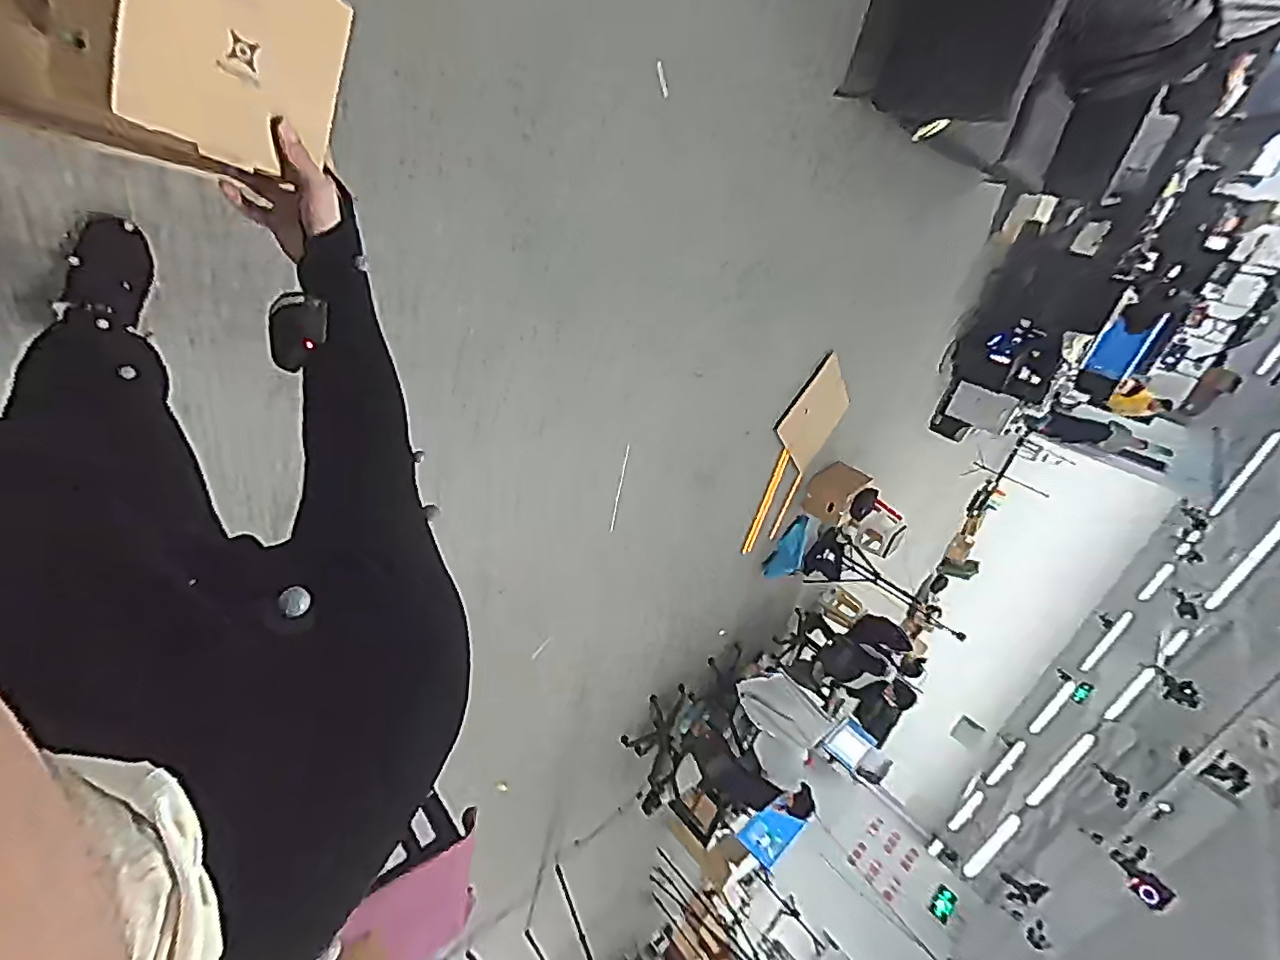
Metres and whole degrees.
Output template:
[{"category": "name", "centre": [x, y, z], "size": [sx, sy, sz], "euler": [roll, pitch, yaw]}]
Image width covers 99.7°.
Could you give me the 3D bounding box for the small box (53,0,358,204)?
[{"category": "small box", "centre": [-0.404, -0.395, 0.504], "size": [0.168, 0.176, 0.179], "euler": [-5, 121, -59]}]
